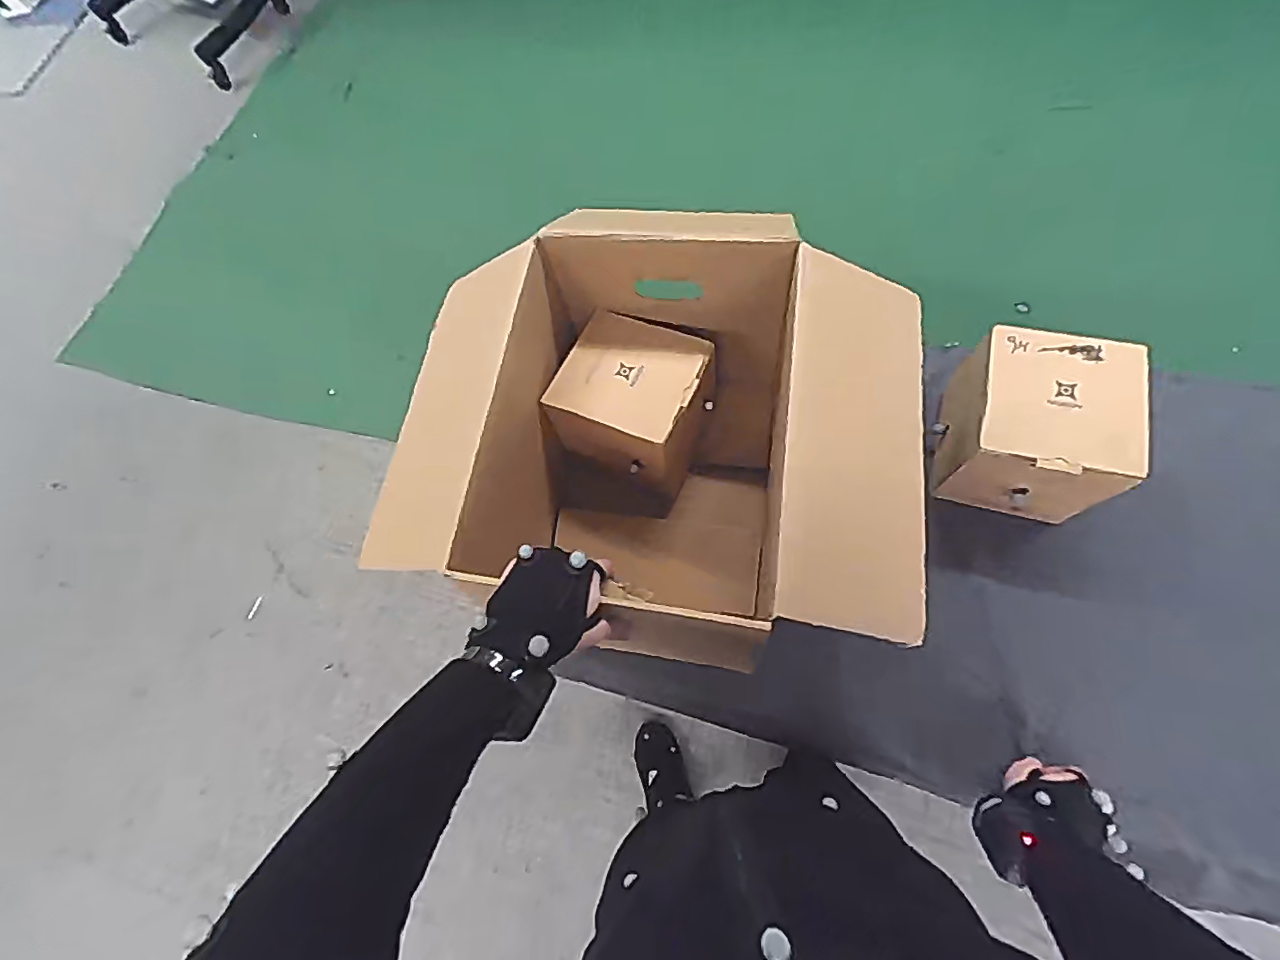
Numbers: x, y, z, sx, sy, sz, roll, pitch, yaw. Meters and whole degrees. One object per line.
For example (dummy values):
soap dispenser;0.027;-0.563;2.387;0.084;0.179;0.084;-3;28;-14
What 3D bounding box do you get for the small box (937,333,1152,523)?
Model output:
small box;0.509;-0.058;0.703;0.168;0.176;0.179;14;73;13
